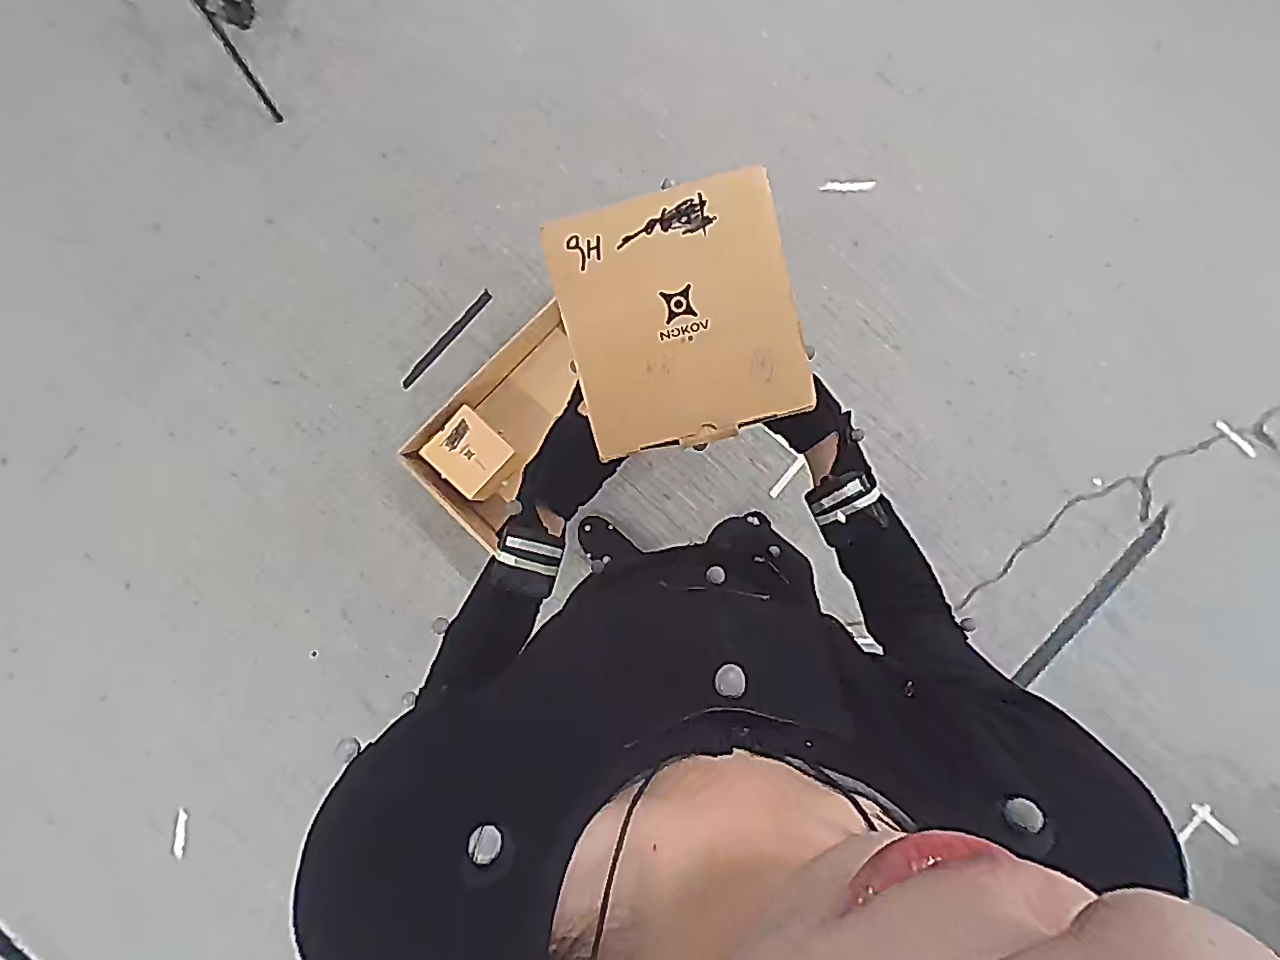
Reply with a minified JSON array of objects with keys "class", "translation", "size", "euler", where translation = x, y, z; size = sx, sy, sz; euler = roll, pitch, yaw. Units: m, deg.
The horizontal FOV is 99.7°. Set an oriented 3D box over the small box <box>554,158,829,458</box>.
[{"class":"small box","translation":[0.040,-0.128,0.458],"size":[0.168,0.176,0.179],"euler":[-14,97,2]}]
